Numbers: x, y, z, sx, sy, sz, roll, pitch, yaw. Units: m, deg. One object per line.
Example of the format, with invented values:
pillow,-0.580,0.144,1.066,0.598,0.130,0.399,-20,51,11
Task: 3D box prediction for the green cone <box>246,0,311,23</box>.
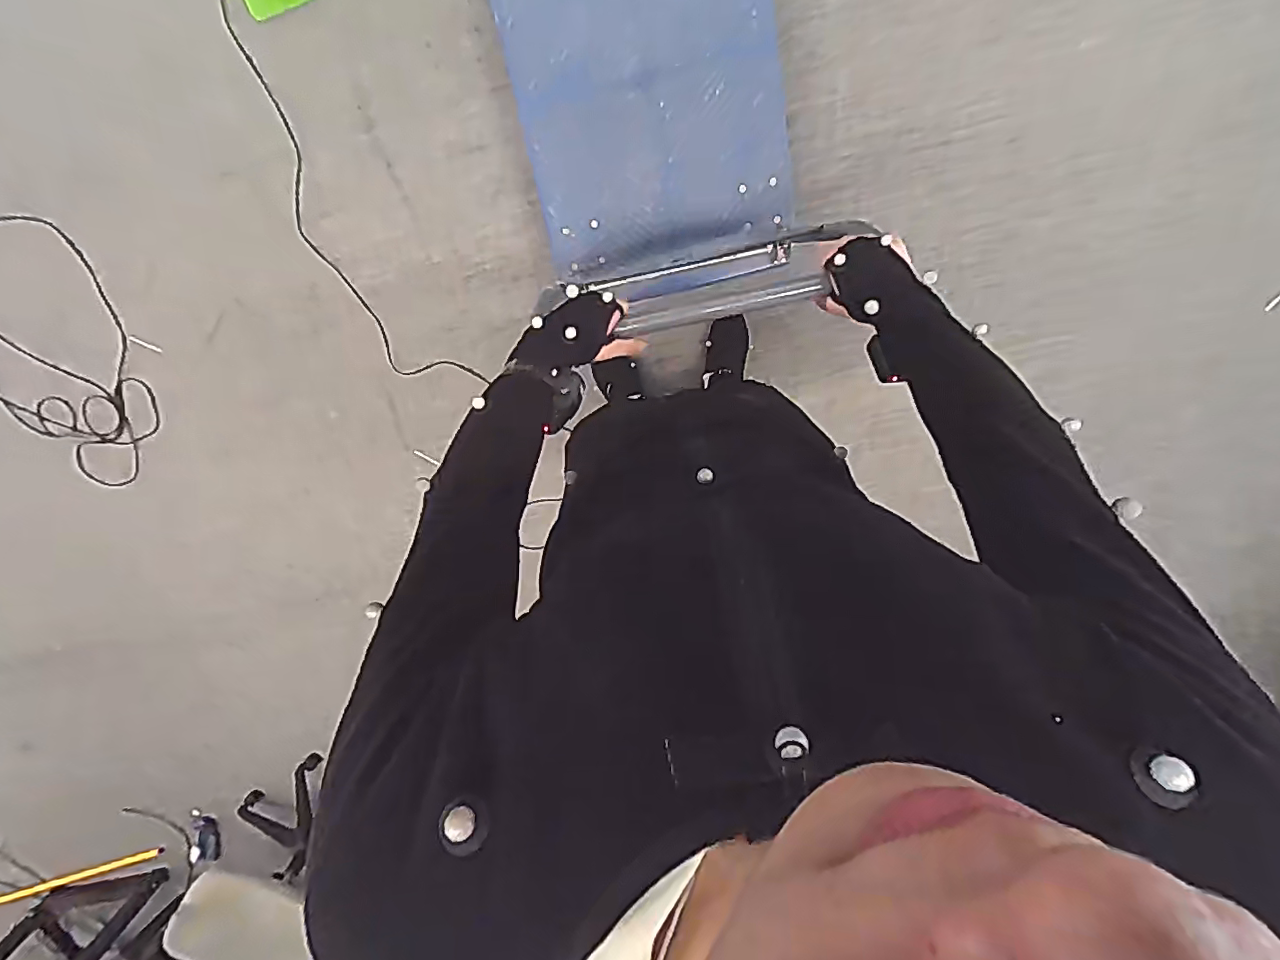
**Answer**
green cone,-0.870,-1.149,1.095,0.202,0.368,0.200,-16,109,10
